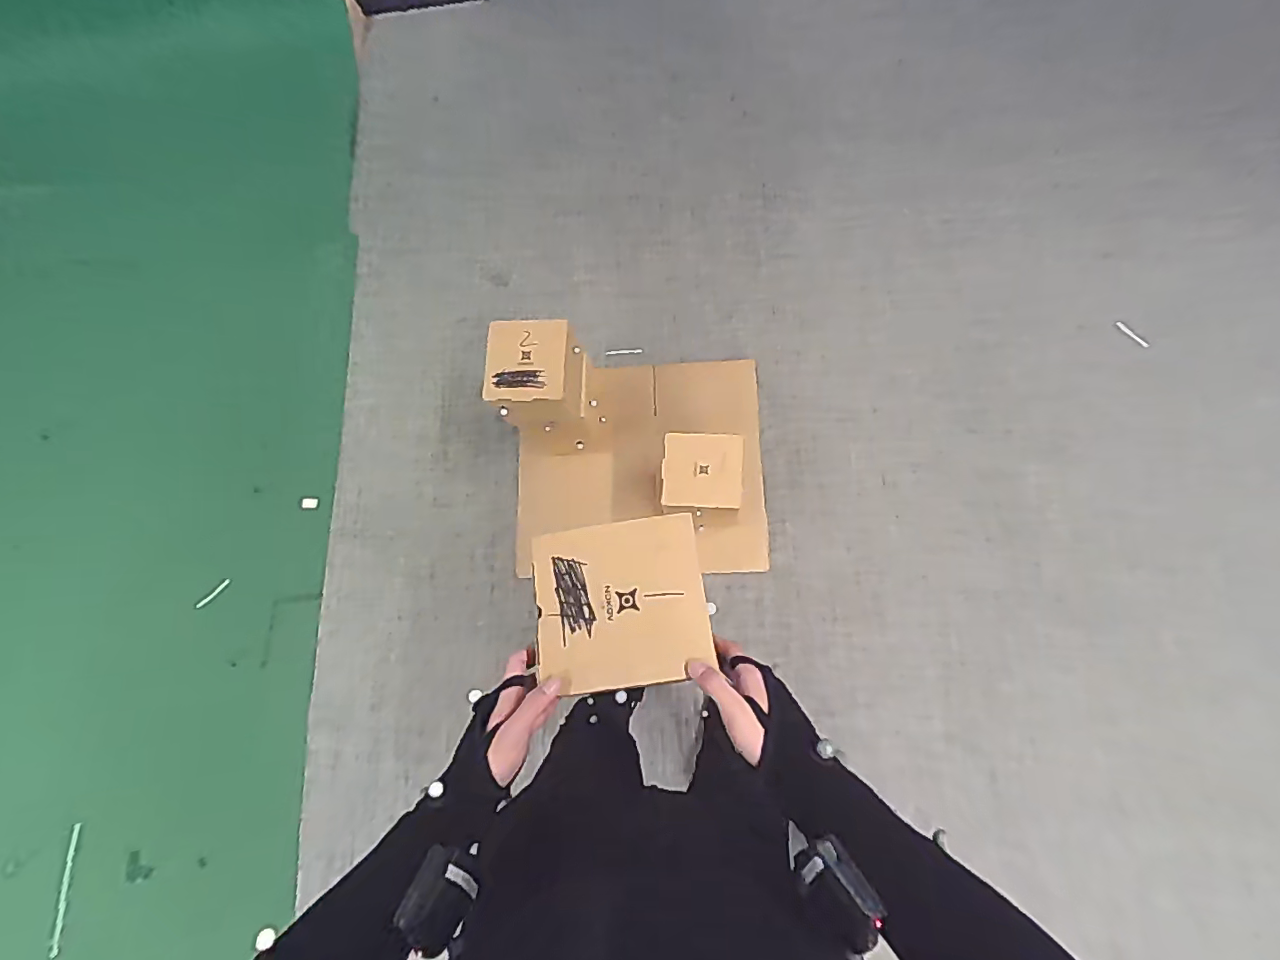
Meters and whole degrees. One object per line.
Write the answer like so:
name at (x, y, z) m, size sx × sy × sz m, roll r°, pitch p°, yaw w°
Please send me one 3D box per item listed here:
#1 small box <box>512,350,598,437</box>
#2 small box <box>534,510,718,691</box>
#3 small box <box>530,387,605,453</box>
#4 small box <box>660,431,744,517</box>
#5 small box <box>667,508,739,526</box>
small box at (-0.201, -0.207, 1.327) m, size 0.179 × 0.176 × 0.168 m, roll -1°, pitch 79°, yaw 6°
small box at (-0.012, 0.146, 0.618) m, size 0.179 × 0.176 × 0.168 m, roll -8°, pitch 69°, yaw 1°
small box at (-0.193, -0.175, 1.485) m, size 0.179 × 0.176 × 0.168 m, roll -1°, pitch 78°, yaw 5°
small box at (0.145, -0.009, 1.254) m, size 0.179 × 0.176 × 0.168 m, roll 3°, pitch 79°, yaw 6°
small box at (0.162, 0.027, 1.413) m, size 0.179 × 0.176 × 0.168 m, roll 1°, pitch 78°, yaw 6°
